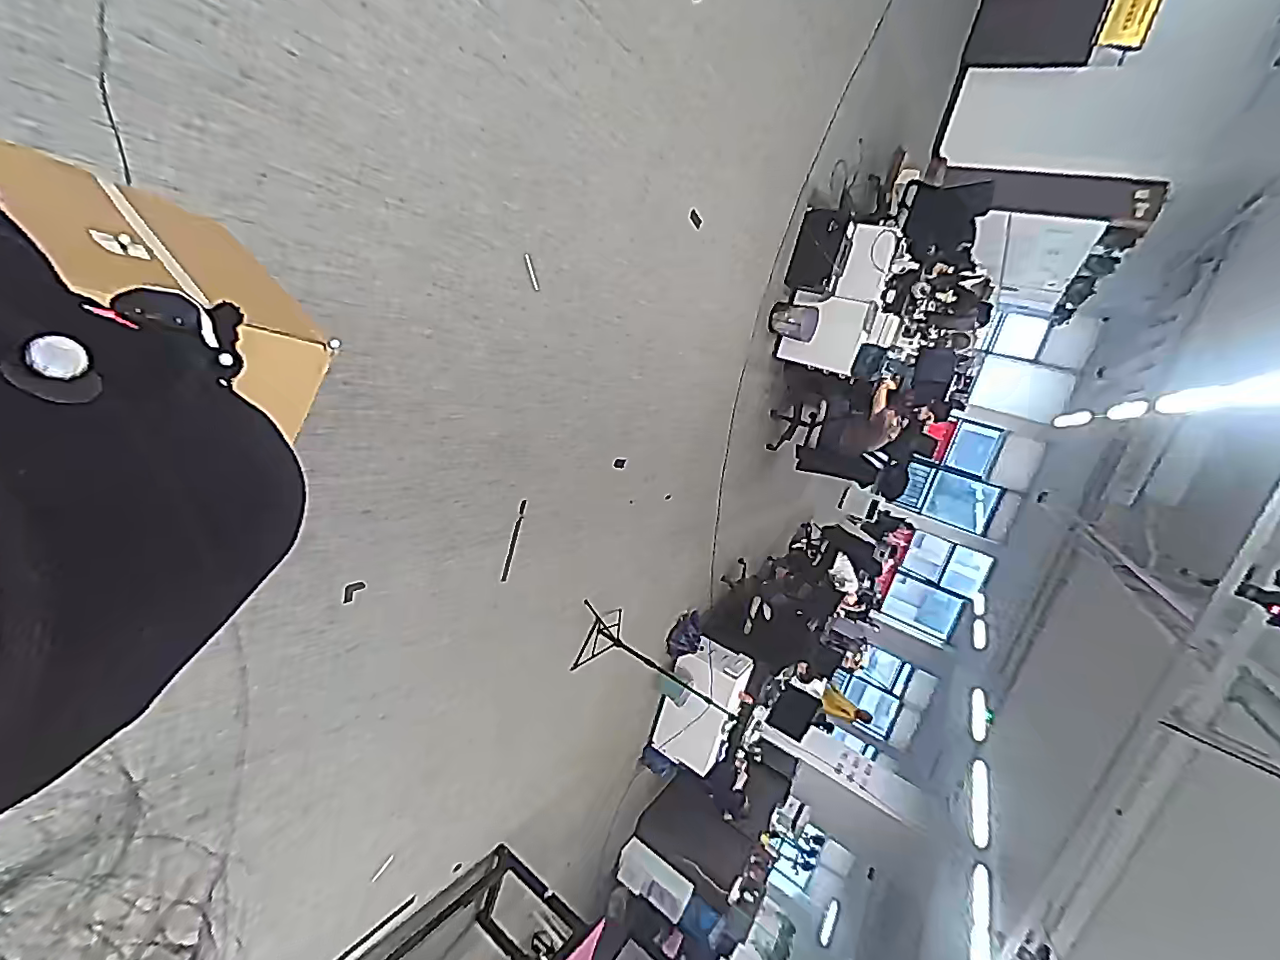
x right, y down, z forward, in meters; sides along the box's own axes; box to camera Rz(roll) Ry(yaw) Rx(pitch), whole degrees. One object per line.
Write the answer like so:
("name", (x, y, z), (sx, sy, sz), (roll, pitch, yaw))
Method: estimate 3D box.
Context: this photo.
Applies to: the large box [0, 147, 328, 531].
("large box", (-0.731, -0.182, 0.739), (0.320, 0.408, 0.320), (-55, 158, 17))
